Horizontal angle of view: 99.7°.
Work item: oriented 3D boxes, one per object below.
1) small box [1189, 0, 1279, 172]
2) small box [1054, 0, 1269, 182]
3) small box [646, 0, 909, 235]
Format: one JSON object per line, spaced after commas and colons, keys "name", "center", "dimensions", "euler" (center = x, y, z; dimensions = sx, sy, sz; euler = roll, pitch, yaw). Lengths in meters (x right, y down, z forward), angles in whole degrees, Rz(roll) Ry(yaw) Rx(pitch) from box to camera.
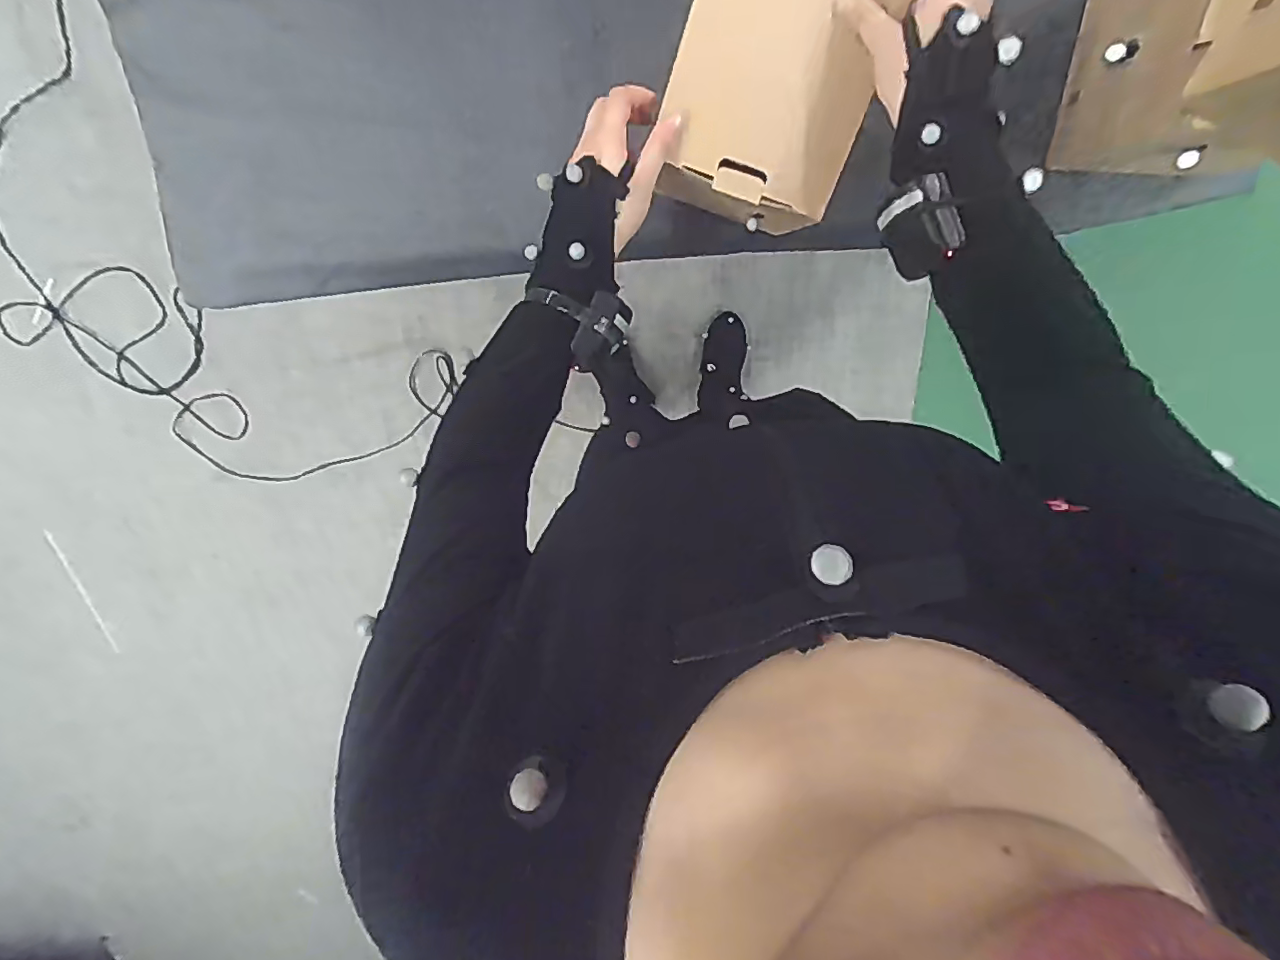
{"name": "small box", "center": [0.539, -0.309, 0.347], "dimensions": [0.179, 0.176, 0.168], "euler": [22, 108, -8]}
{"name": "small box", "center": [0.536, -0.381, 0.495], "dimensions": [0.179, 0.176, 0.168], "euler": [2, 110, 0]}
{"name": "small box", "center": [0.109, -0.349, 0.514], "dimensions": [0.168, 0.176, 0.179], "euler": [16, 109, -6]}
